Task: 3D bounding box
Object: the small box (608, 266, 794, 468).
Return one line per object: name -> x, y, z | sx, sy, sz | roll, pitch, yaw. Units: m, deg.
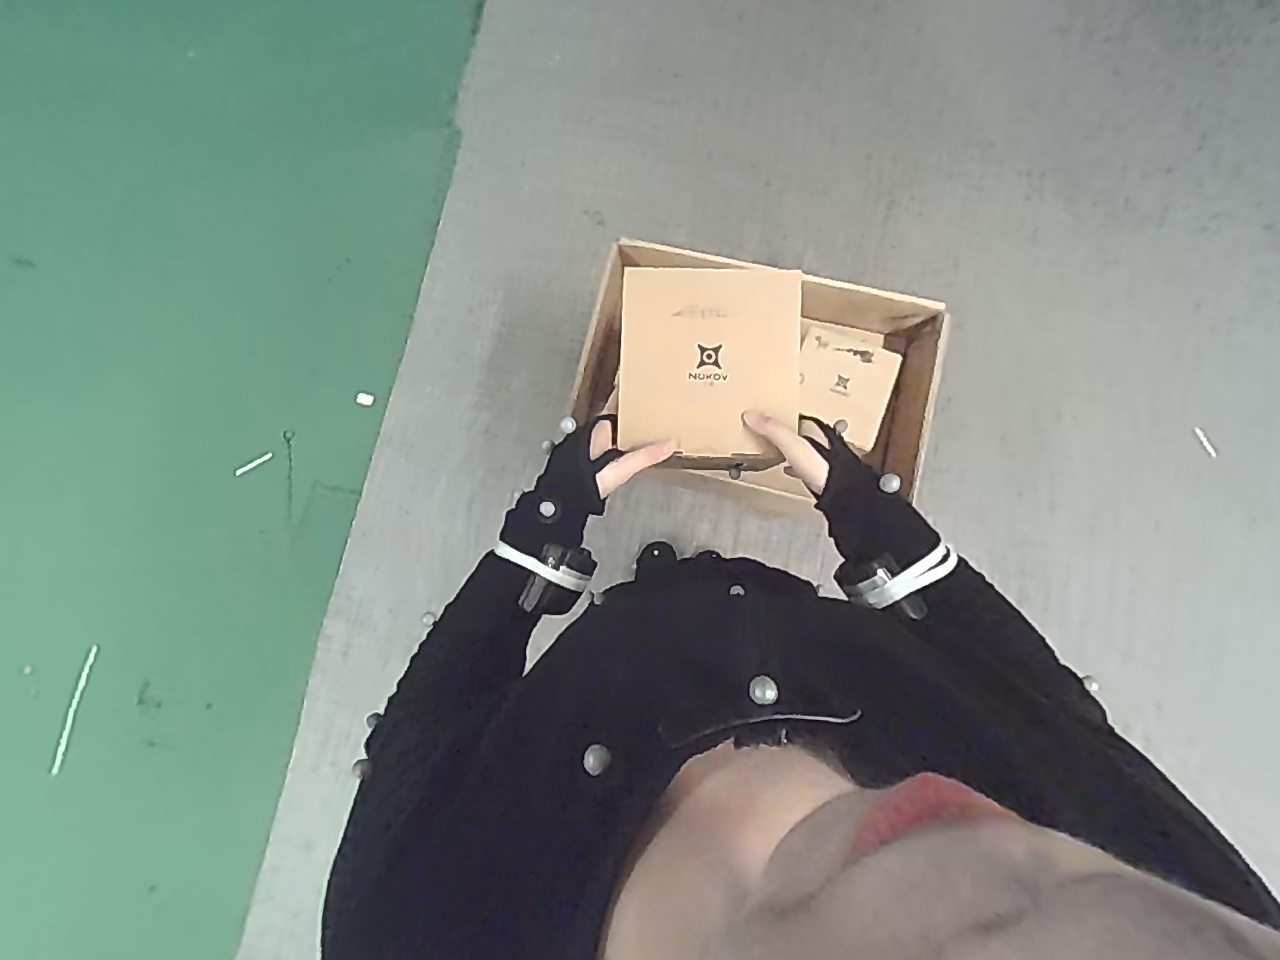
small box -> 0.061, -0.106, 0.576 | 0.168, 0.176, 0.179 | 2, 86, 3
